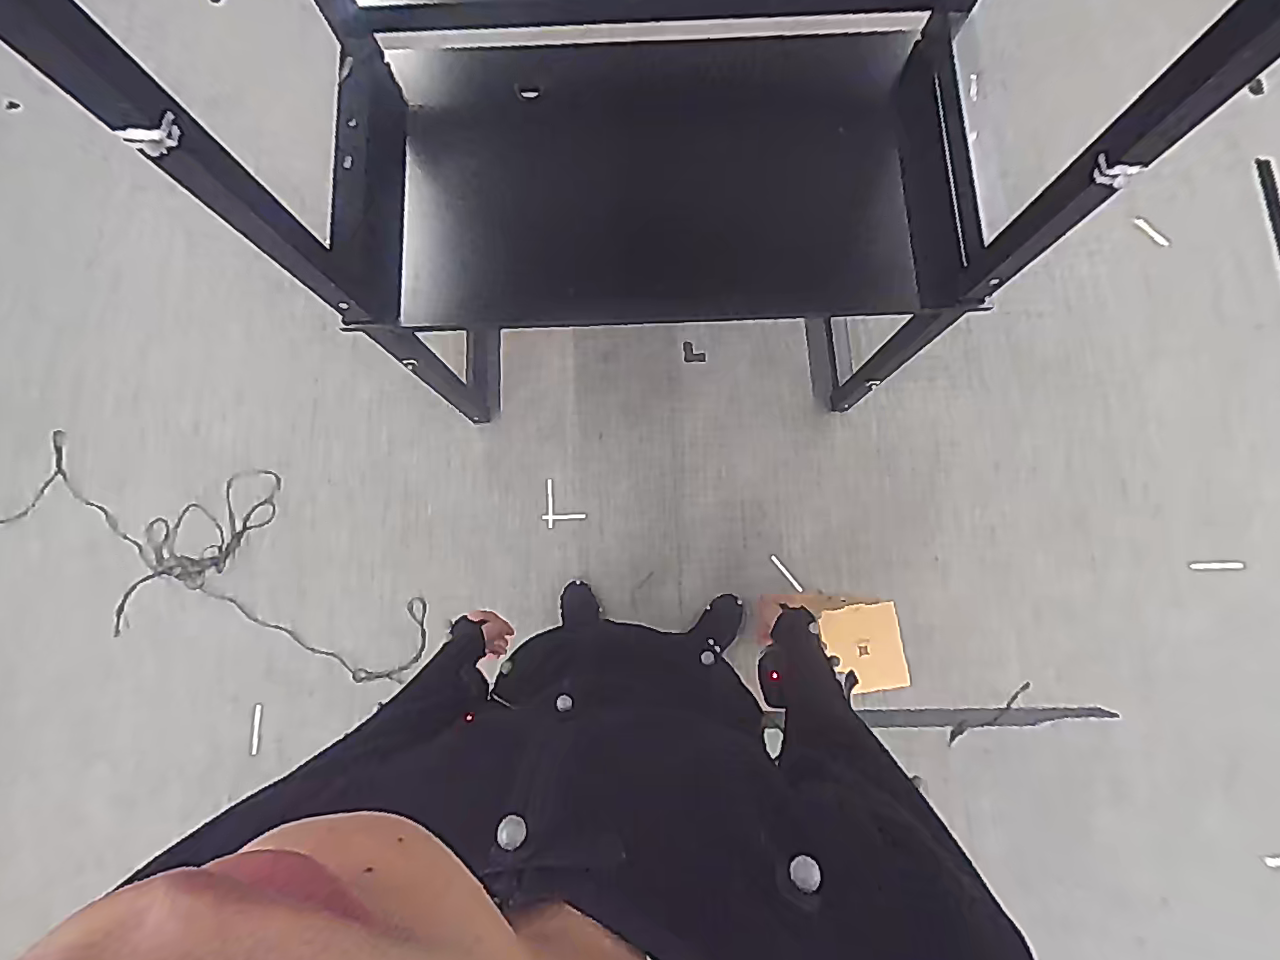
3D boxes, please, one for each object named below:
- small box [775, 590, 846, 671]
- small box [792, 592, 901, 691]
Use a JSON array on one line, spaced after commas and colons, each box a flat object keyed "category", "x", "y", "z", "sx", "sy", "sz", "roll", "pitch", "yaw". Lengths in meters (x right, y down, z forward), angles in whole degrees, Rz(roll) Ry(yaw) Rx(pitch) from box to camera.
[{"category": "small box", "x": 0.458, "y": 0.374, "z": 1.369, "sx": 0.179, "sy": 0.176, "sz": 0.168, "roll": -7, "pitch": 82, "yaw": 0}, {"category": "small box", "x": 0.452, "y": 0.354, "z": 1.208, "sx": 0.168, "sy": 0.176, "sz": 0.179, "roll": -8, "pitch": 81, "yaw": 0}]
